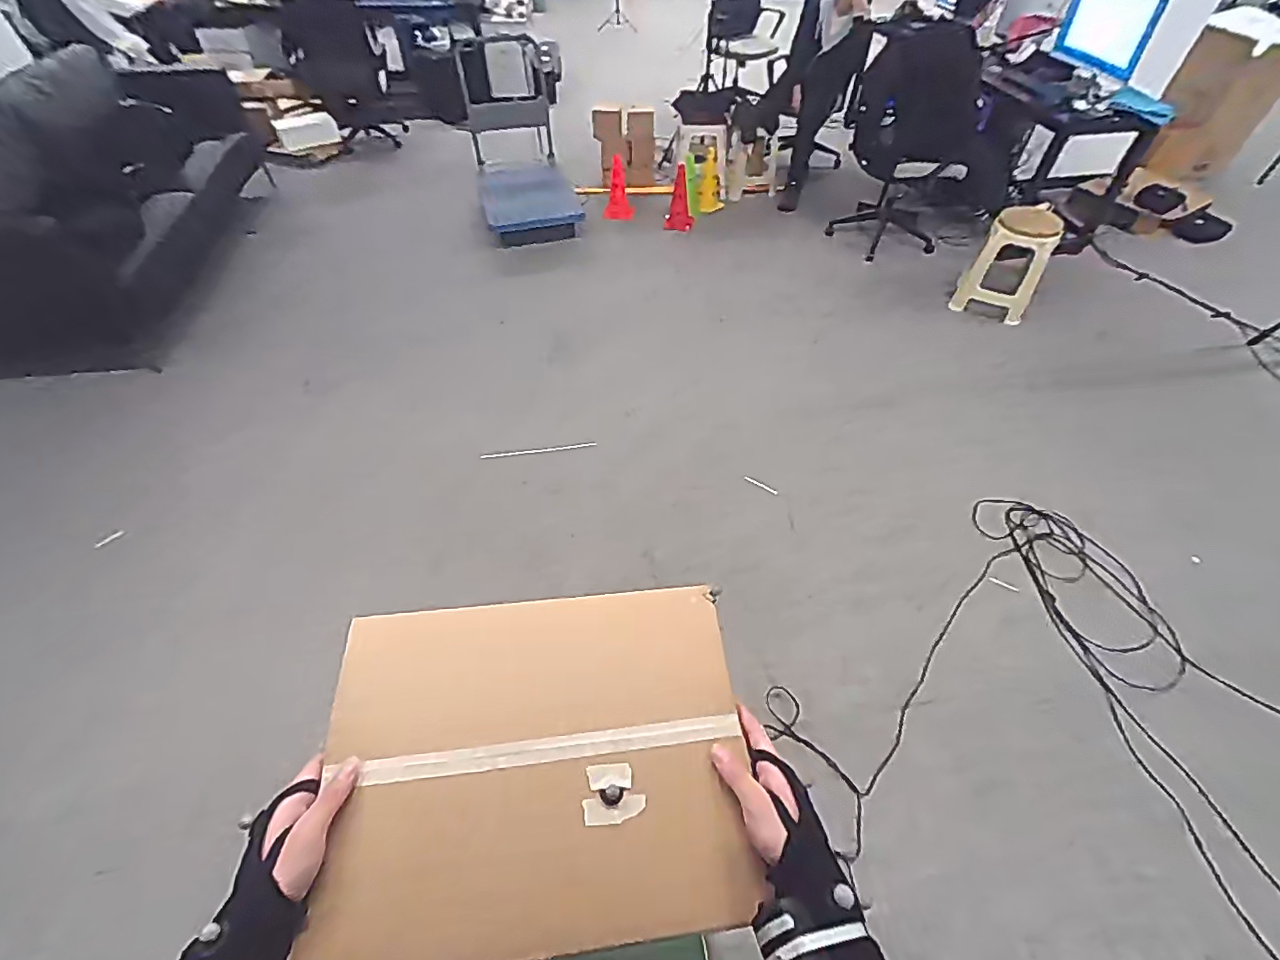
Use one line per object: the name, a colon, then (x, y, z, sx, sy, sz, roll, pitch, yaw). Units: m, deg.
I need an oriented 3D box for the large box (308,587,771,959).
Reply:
large box: (-0.106, 0.354, 0.666, 0.408, 0.320, 0.320, -3, 55, -7)
